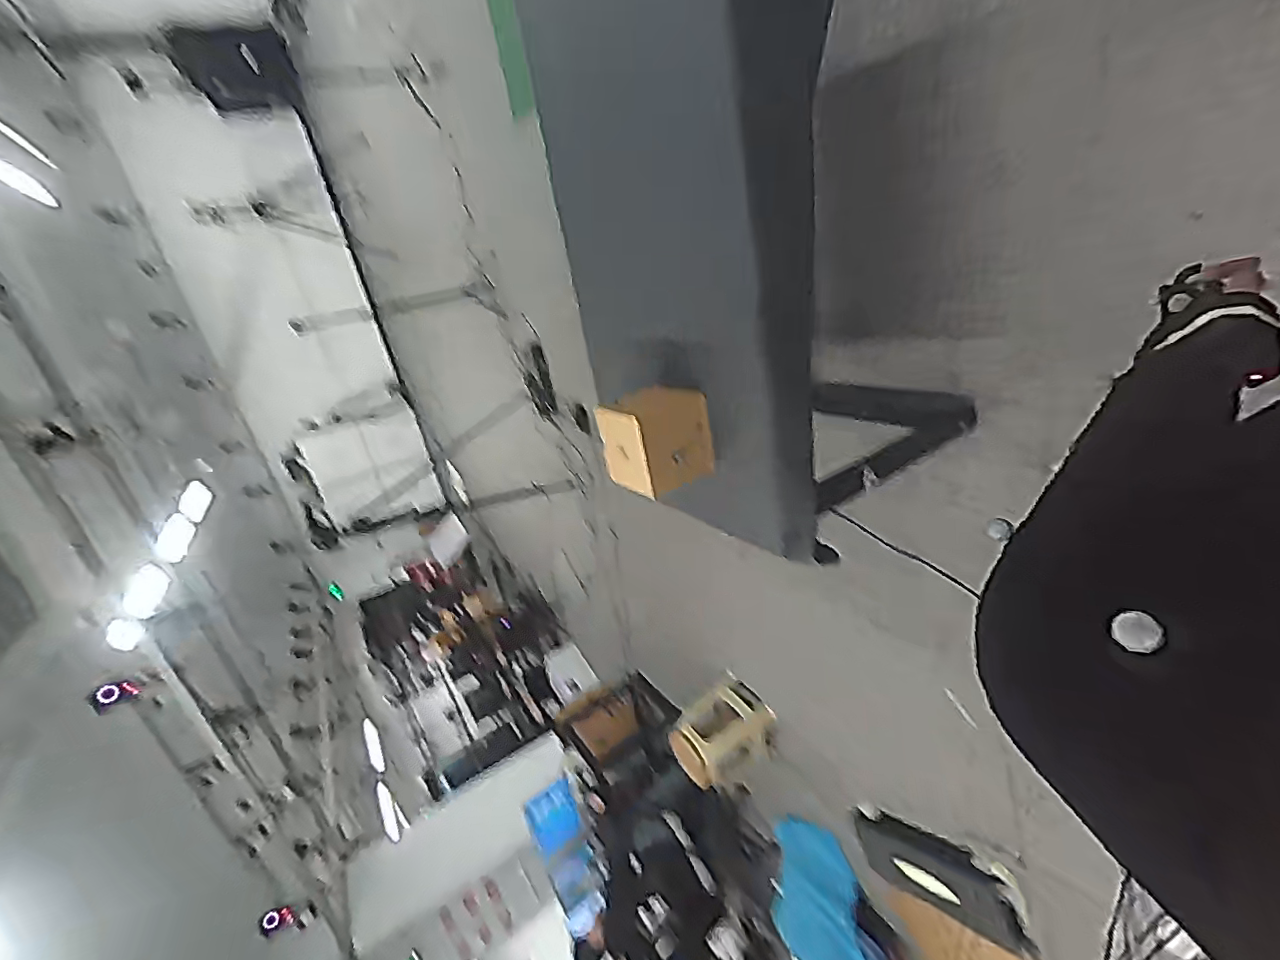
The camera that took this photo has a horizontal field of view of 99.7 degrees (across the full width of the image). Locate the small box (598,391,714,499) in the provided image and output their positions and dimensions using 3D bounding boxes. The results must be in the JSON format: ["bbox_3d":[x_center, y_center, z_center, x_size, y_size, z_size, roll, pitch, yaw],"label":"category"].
[{"bbox_3d":[0.040,-0.082,1.123,0.179,0.176,0.168,22,129,57],"label":"small box"}]
